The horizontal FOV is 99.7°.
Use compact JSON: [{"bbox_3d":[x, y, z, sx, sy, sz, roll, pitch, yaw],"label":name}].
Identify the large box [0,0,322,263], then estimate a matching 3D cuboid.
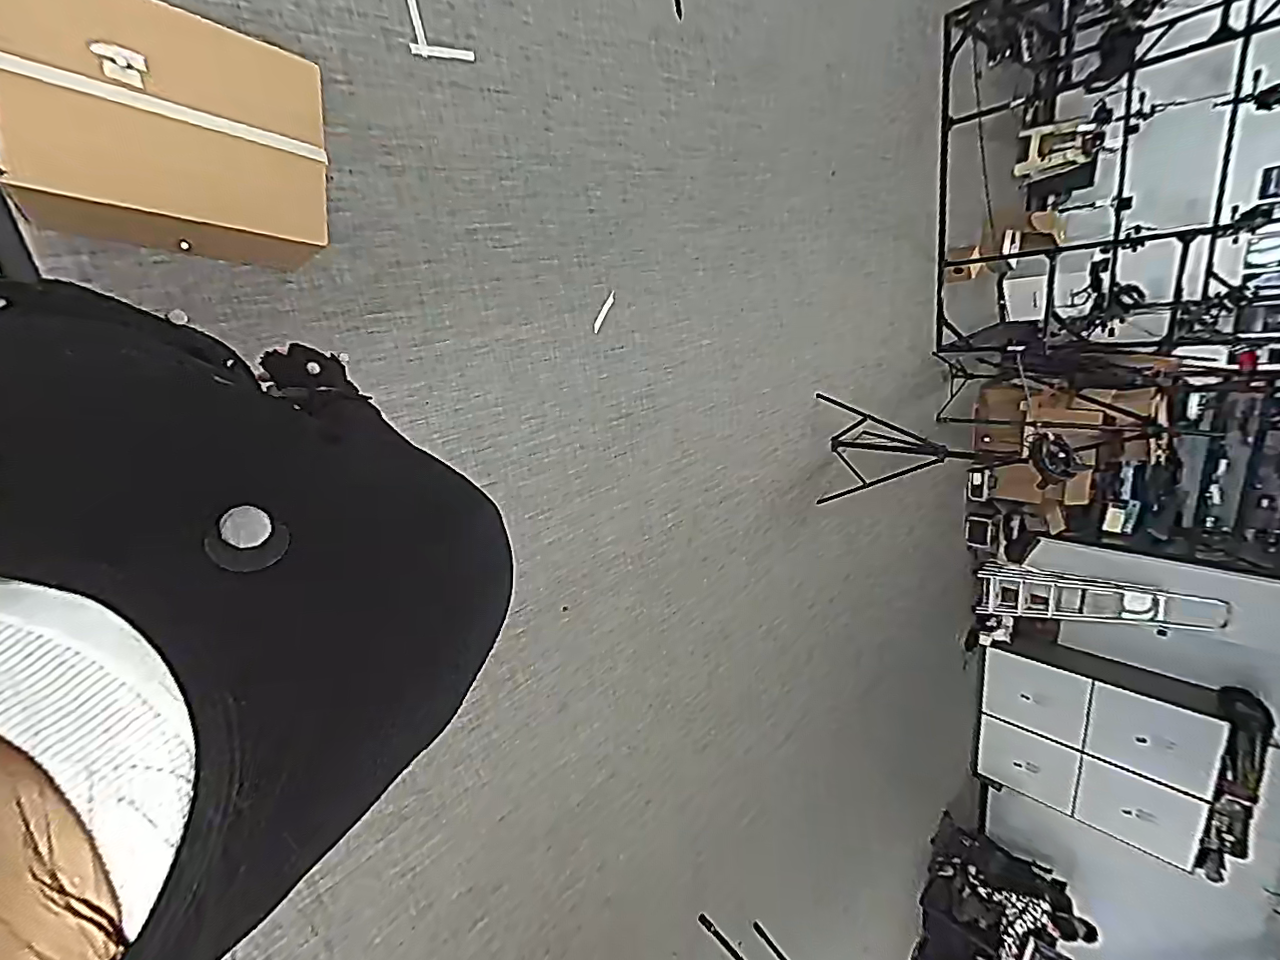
[{"bbox_3d":[-0.839,-0.601,0.972,0.408,0.320,0.320,-6,101,-42],"label":"large box"}]
